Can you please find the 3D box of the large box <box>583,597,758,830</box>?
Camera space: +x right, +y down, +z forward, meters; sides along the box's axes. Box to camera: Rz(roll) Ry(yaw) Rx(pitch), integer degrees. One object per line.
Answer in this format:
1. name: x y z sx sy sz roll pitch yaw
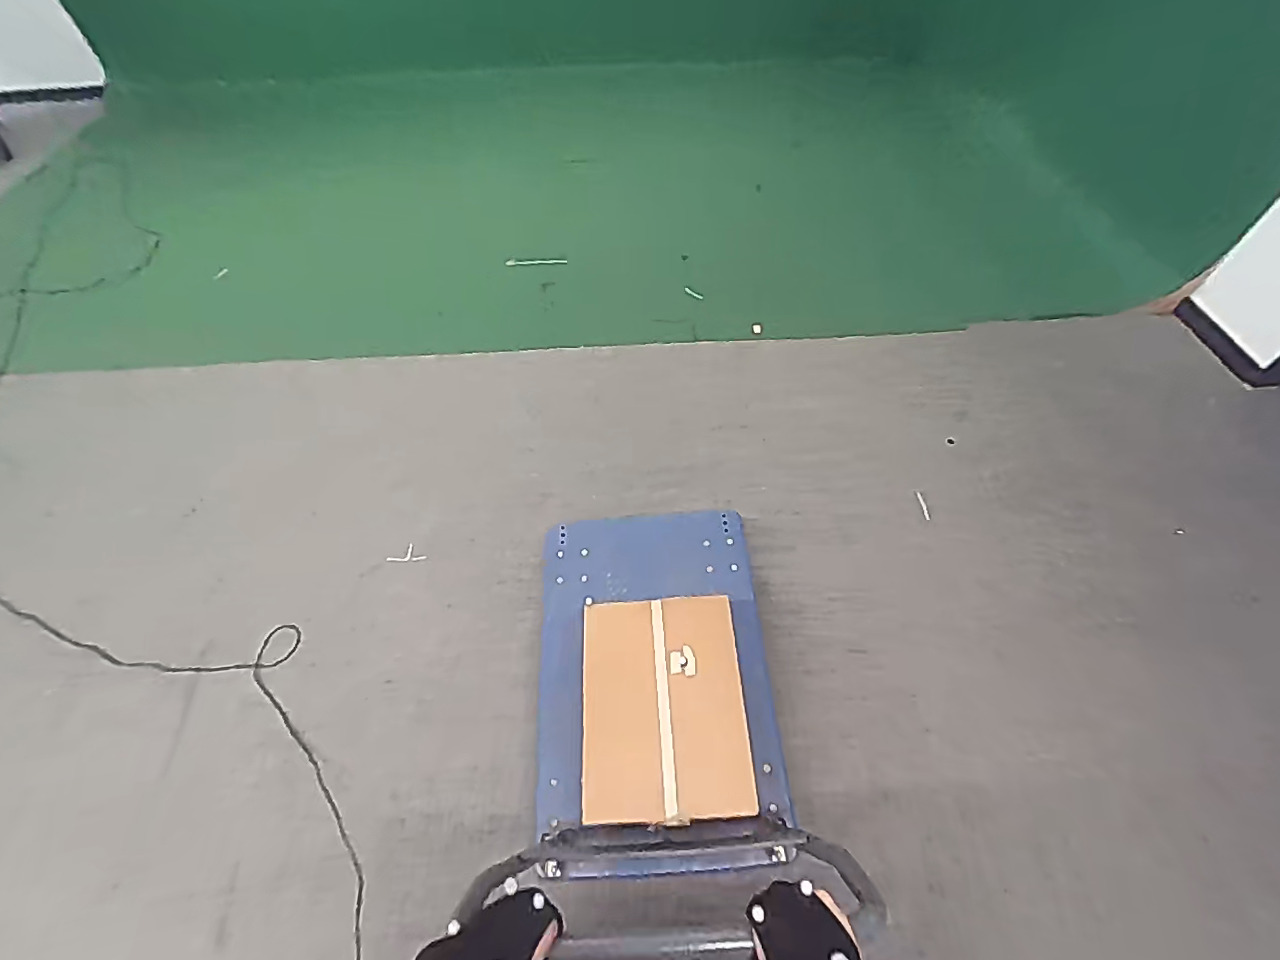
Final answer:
1. large box: 0.052 0.512 1.179 0.320 0.320 0.408 -4 56 0
